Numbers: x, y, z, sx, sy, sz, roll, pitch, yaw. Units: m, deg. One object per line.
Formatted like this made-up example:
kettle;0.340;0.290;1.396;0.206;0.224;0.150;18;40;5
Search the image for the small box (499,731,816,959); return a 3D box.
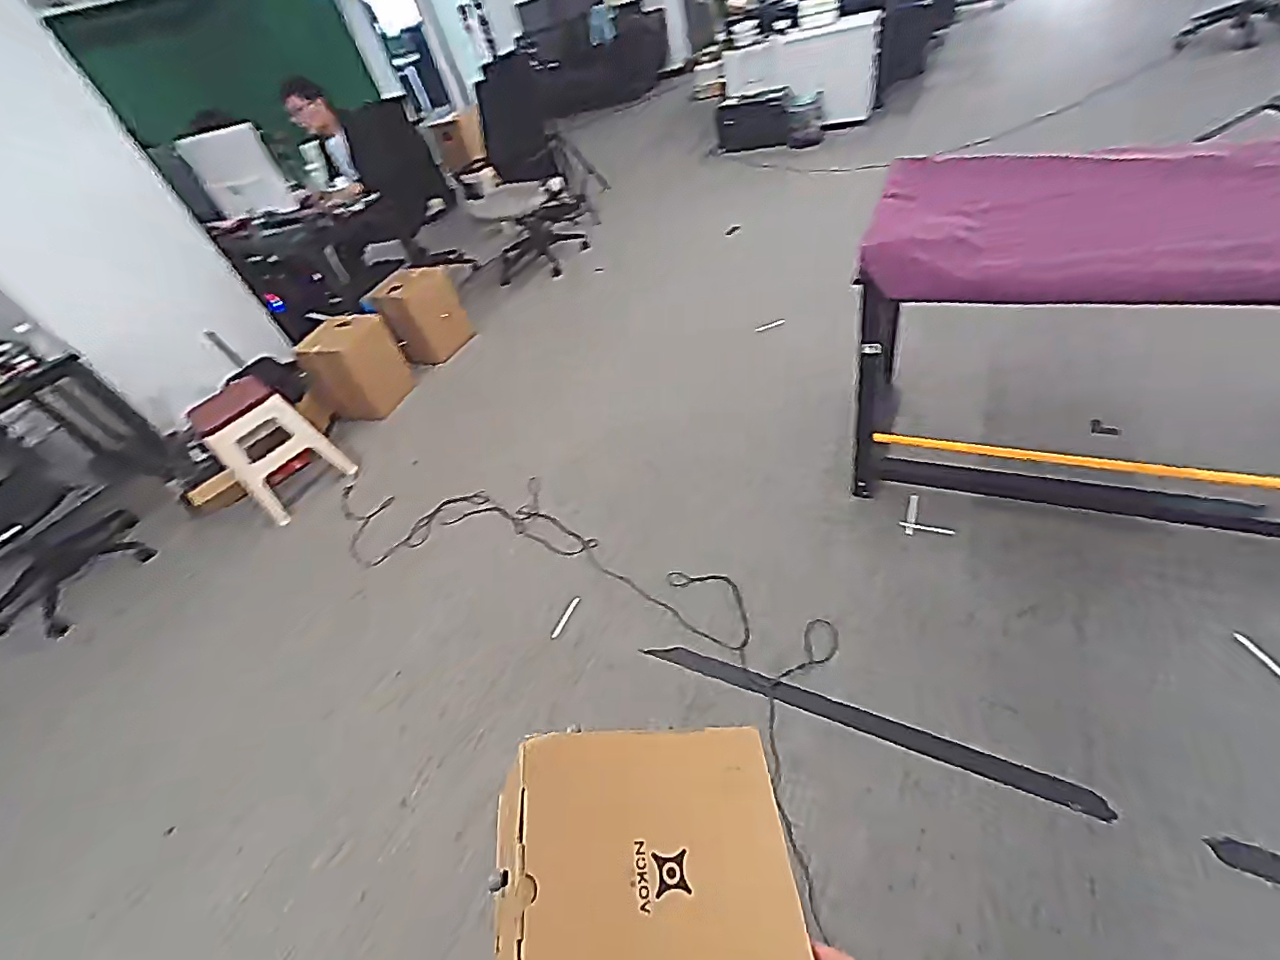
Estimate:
small box;-0.003;0.292;0.390;0.179;0.176;0.168;5;49;-16
